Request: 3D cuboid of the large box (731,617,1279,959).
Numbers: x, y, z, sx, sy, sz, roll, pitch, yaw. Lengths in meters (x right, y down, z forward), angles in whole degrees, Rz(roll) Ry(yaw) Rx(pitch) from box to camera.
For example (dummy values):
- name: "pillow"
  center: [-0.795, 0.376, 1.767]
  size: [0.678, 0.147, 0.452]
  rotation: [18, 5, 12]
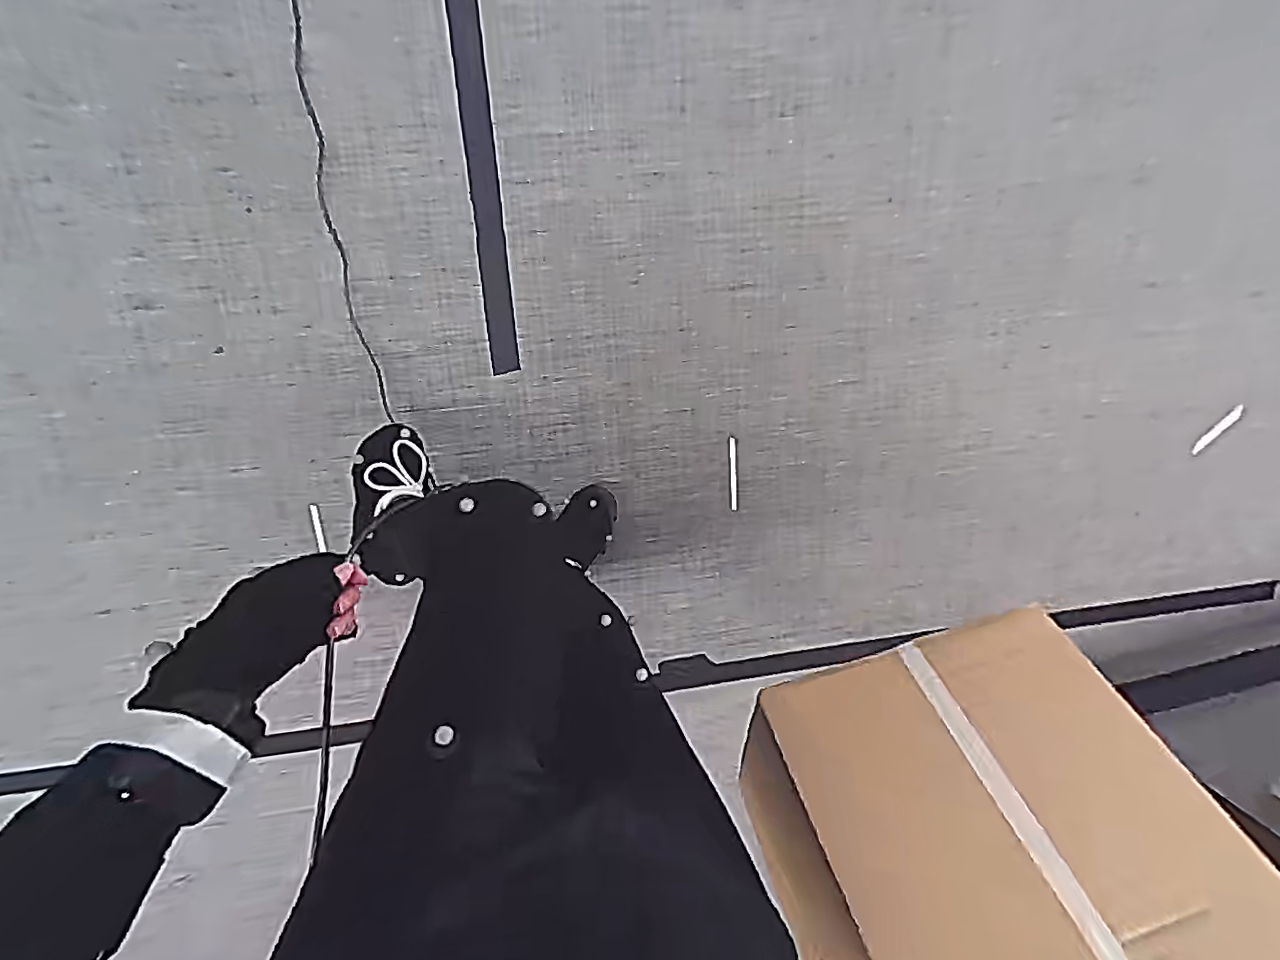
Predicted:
- name: "large box"
  center: [0.312, 0.414, 0.522]
  size: [0.320, 0.408, 0.320]
  rotation: [-15, 138, -7]
